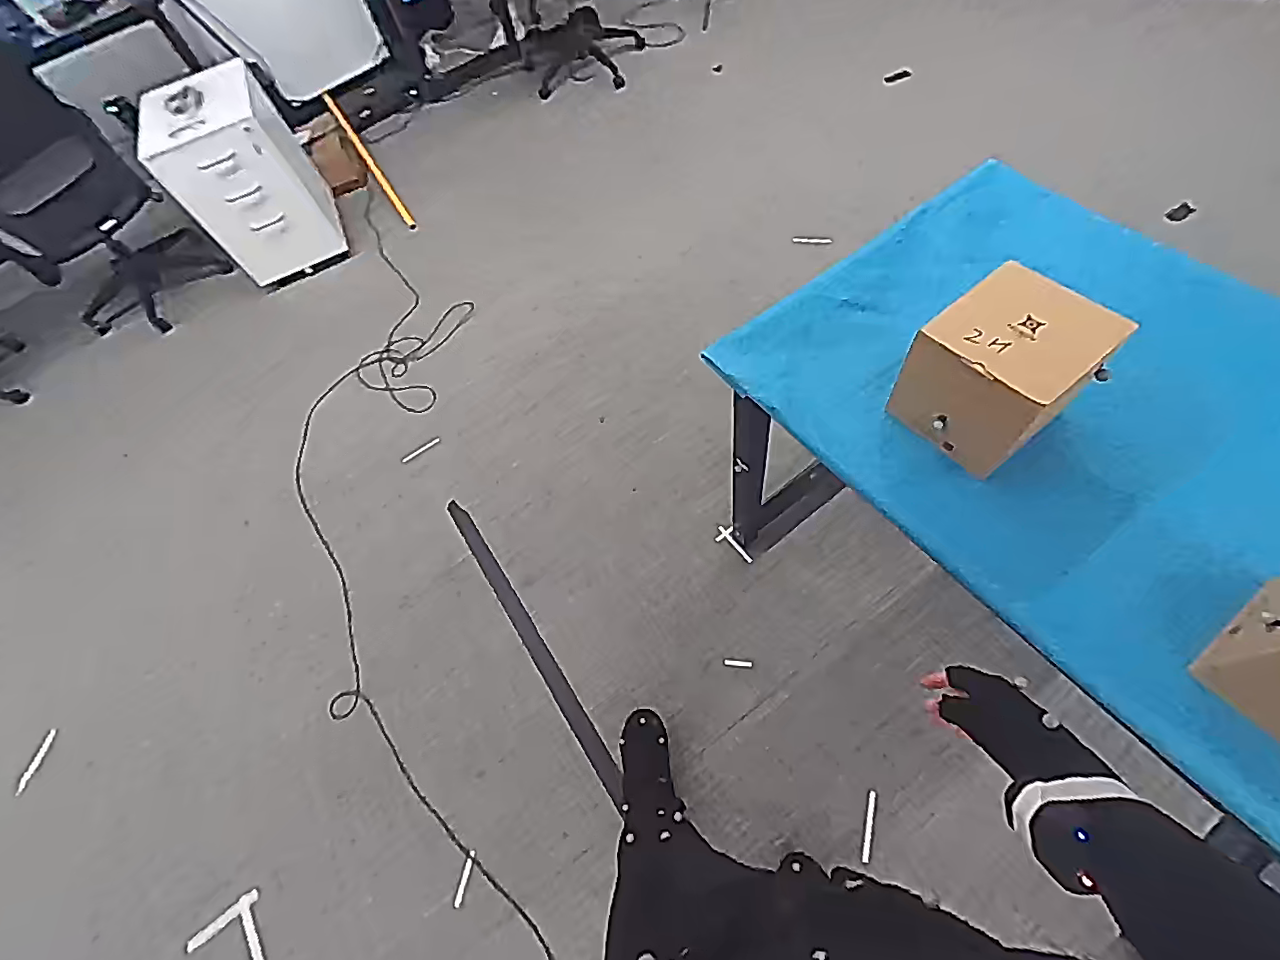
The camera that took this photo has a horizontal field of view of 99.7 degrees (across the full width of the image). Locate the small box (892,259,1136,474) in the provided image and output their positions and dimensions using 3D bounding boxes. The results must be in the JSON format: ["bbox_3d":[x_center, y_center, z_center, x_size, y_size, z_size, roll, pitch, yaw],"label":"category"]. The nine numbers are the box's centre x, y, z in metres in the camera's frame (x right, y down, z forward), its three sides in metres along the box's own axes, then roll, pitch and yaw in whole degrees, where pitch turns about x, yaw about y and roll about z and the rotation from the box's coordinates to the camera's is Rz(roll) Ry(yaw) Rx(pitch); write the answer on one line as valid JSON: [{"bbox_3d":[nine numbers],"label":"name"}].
[{"bbox_3d":[0.465,-0.142,0.708,0.179,0.176,0.168,-35,61,-7],"label":"small box"}]

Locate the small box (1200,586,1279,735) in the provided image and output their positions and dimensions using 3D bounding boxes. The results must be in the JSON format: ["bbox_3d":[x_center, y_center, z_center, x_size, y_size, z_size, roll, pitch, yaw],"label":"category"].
[{"bbox_3d":[0.700,0.178,0.495,0.168,0.176,0.179,-37,62,-10],"label":"small box"}]
